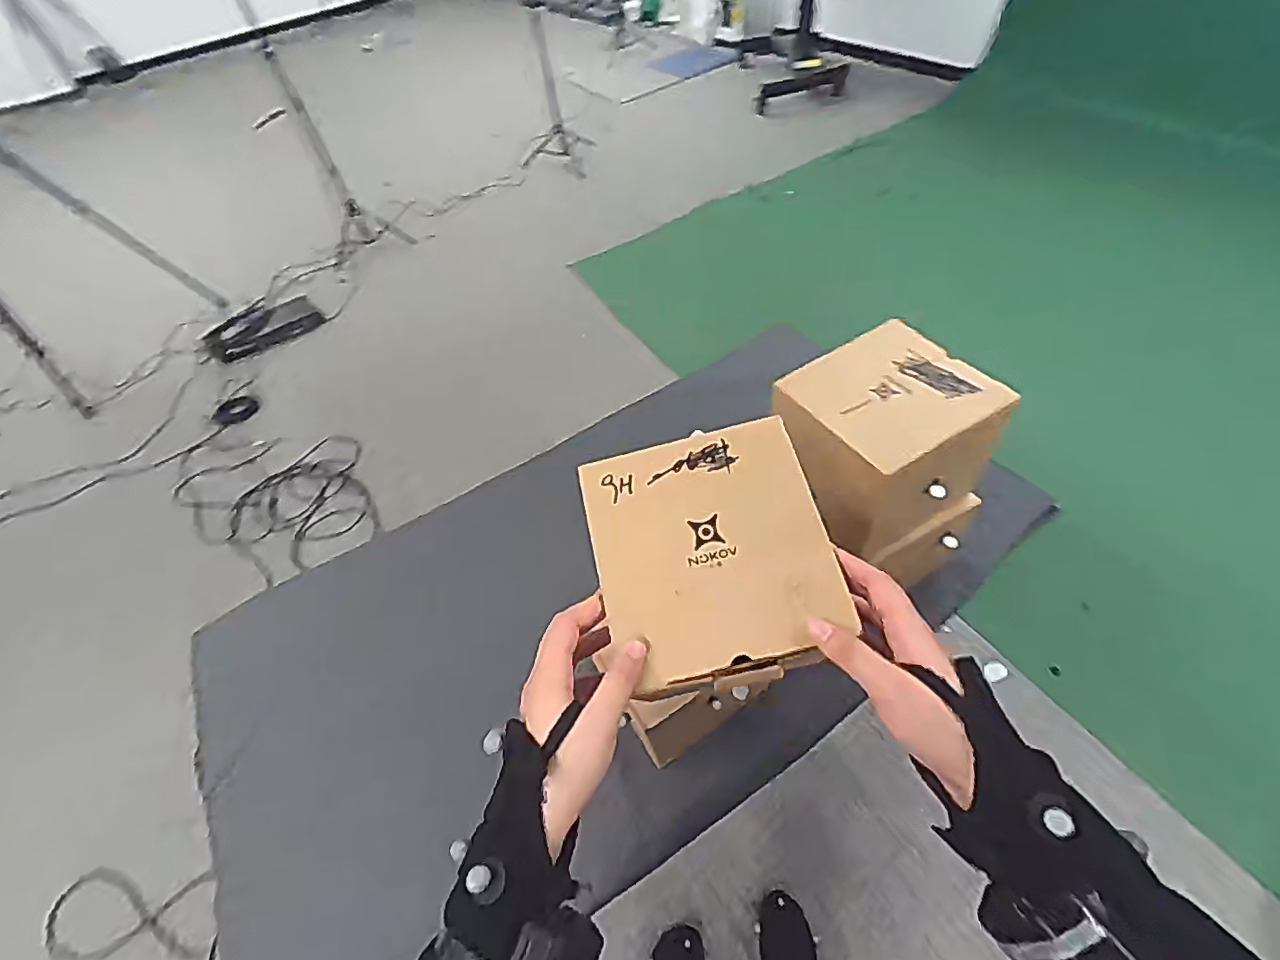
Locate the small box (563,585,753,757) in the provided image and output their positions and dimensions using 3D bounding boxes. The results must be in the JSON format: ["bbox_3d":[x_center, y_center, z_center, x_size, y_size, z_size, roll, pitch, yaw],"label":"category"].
[{"bbox_3d":[0.033,0.206,0.664,0.179,0.176,0.168,-30,55,-16],"label":"small box"}]

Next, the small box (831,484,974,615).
[{"bbox_3d":[0.300,0.056,0.740,0.179,0.176,0.168,-27,52,-12],"label":"small box"}]

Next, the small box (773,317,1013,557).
[{"bbox_3d":[0.262,-0.046,0.616,0.179,0.176,0.168,-28,53,-12],"label":"small box"}]

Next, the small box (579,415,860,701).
[{"bbox_3d":[0.058,0.074,0.452,0.168,0.176,0.179,-13,68,2],"label":"small box"}]
